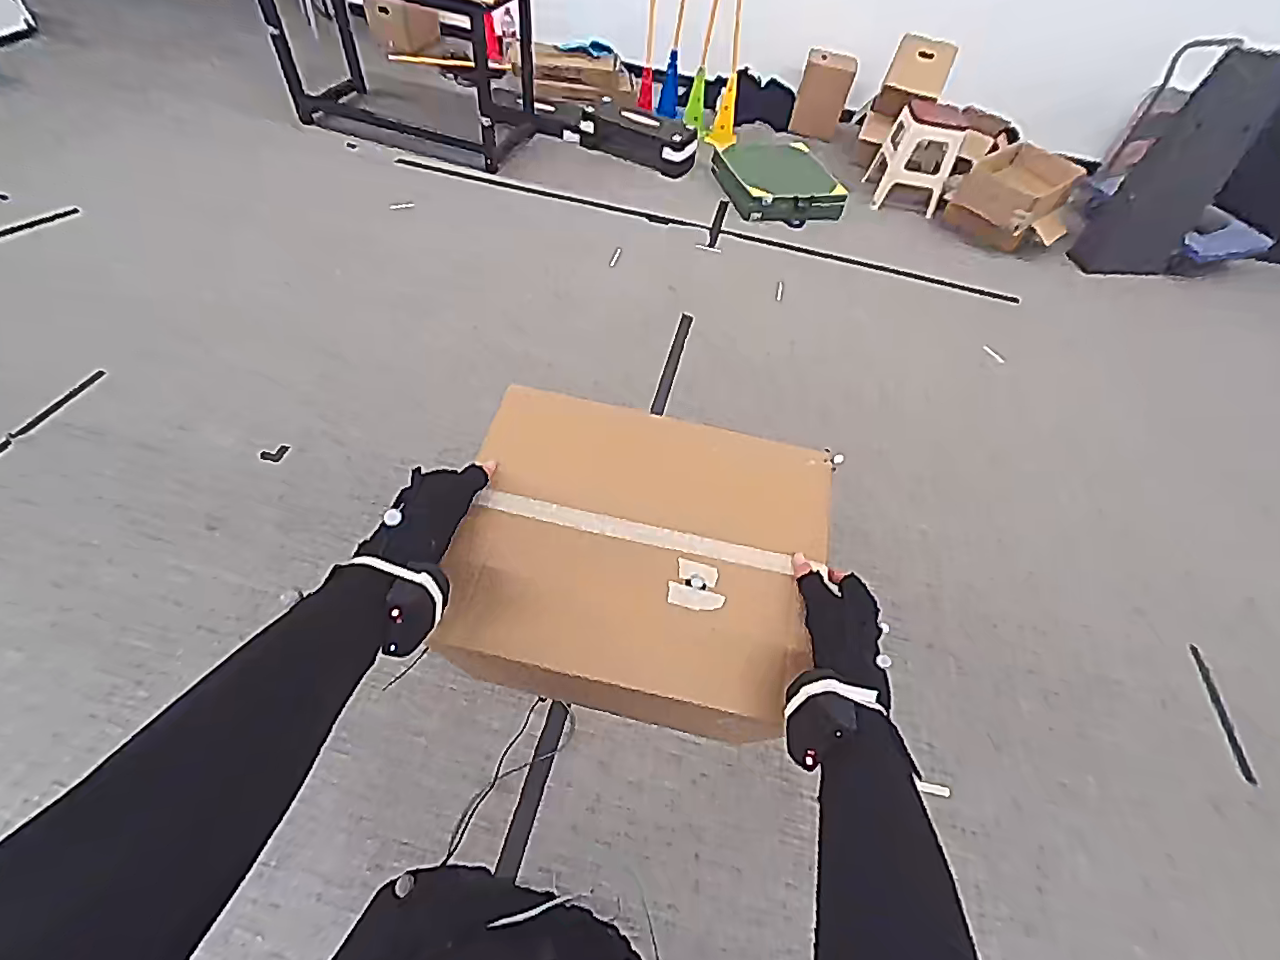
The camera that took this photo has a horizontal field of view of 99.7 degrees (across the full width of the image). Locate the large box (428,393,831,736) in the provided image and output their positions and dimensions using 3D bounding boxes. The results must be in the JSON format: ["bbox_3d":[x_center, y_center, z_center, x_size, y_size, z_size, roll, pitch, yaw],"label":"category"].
[{"bbox_3d":[-0.002,0.131,0.731,0.408,0.320,0.320,13,63,2],"label":"large box"}]
